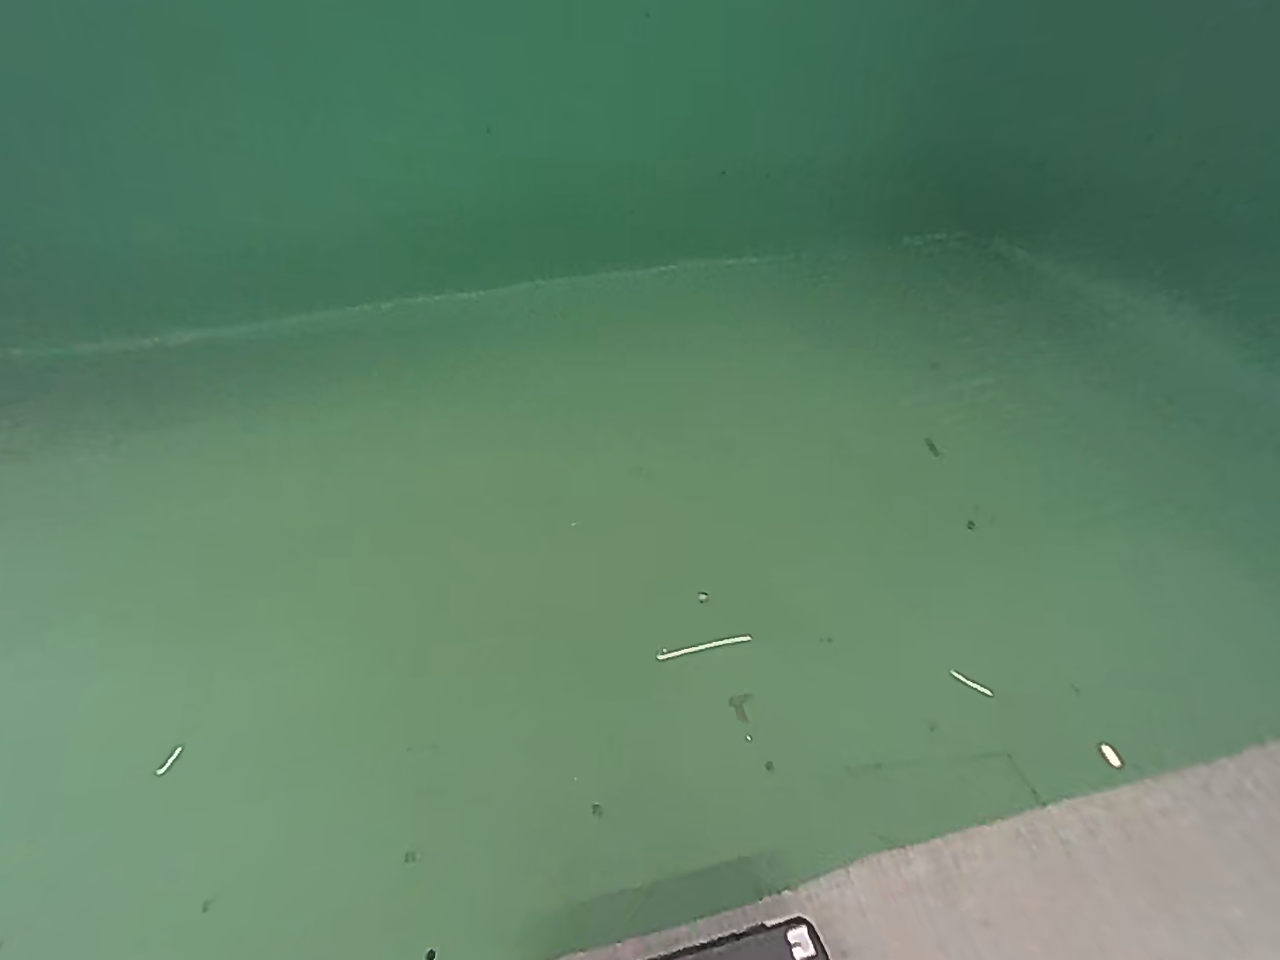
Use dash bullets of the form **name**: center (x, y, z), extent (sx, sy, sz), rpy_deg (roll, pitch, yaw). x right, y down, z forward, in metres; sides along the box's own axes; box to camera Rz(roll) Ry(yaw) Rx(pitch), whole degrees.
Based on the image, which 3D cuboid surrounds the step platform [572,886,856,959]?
- **step platform**: center (0.064, 0.992, 0.970), extent (0.684, 0.204, 0.286), rpy_deg (-11, 51, -8)
